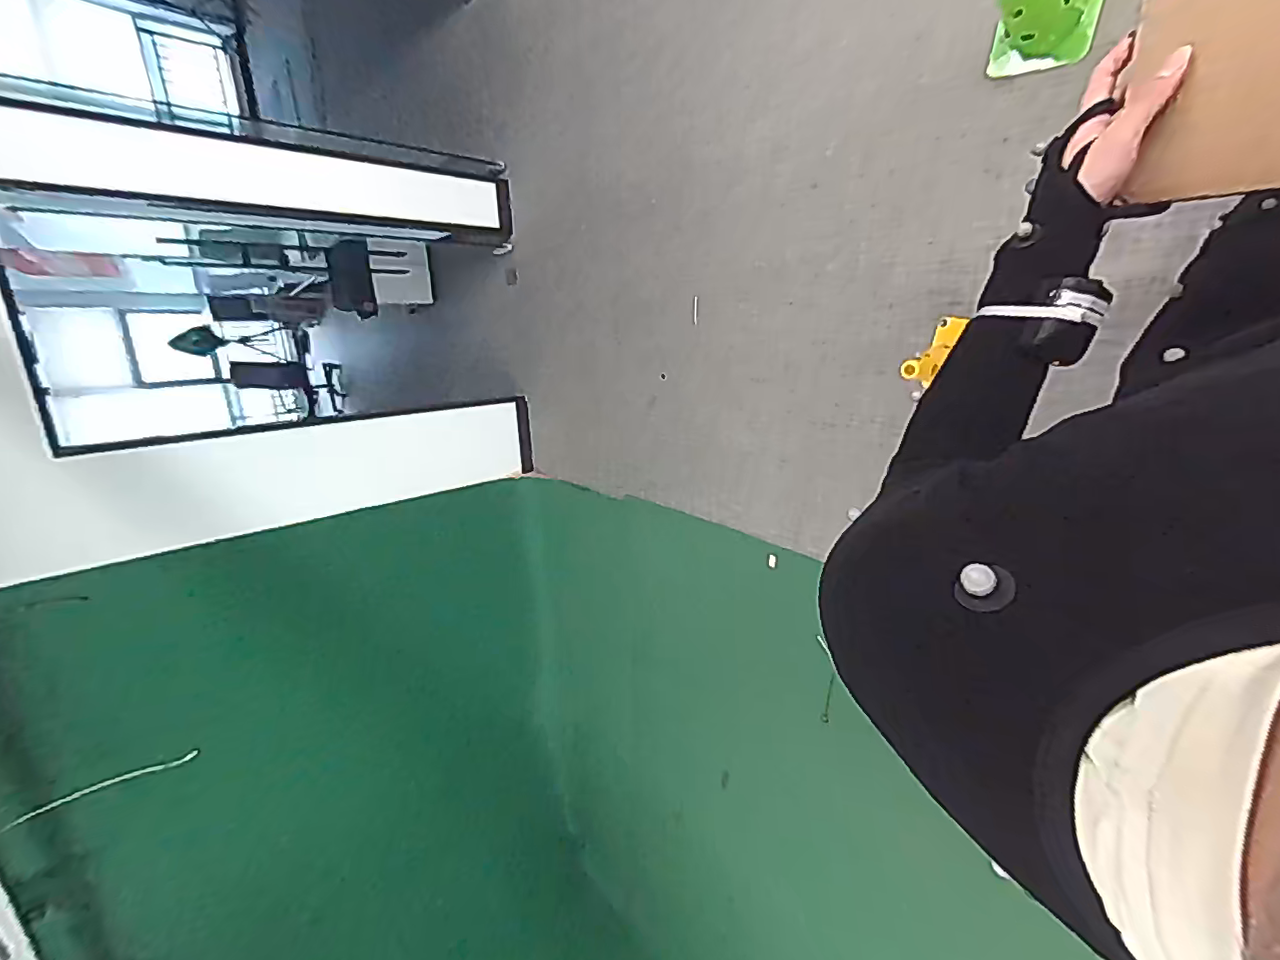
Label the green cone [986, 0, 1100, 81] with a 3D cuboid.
[{"bbox_3d":[0.776,-0.994,1.108,0.200,0.368,0.202,24,121,44],"label":"green cone"}]
